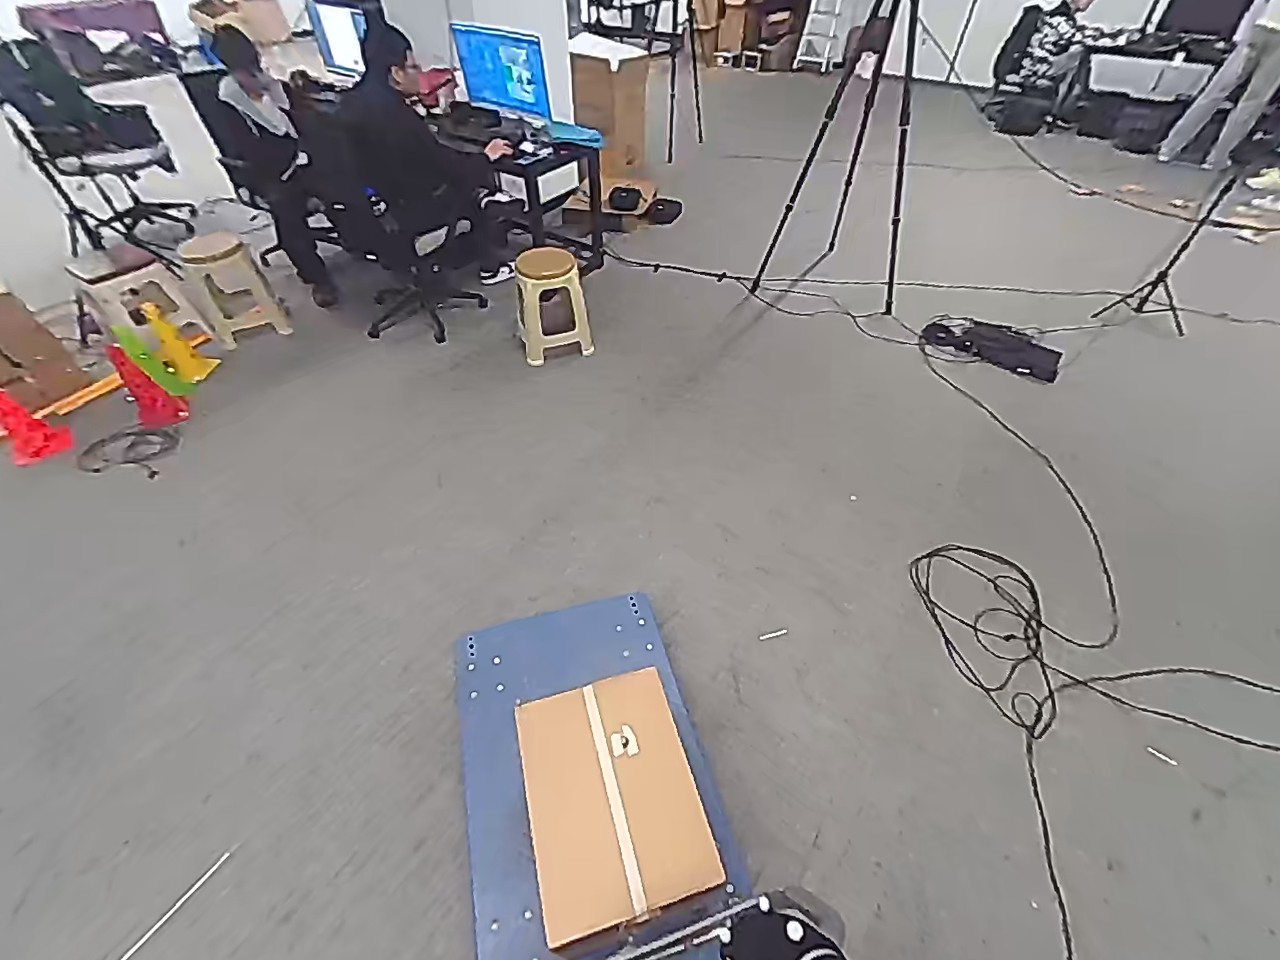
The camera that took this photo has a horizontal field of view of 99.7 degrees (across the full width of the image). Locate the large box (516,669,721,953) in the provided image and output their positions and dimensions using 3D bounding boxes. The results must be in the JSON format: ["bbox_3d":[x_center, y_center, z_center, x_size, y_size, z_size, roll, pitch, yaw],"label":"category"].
[{"bbox_3d":[-0.058,0.692,1.152,0.320,0.320,0.408,-12,47,-12],"label":"large box"}]
